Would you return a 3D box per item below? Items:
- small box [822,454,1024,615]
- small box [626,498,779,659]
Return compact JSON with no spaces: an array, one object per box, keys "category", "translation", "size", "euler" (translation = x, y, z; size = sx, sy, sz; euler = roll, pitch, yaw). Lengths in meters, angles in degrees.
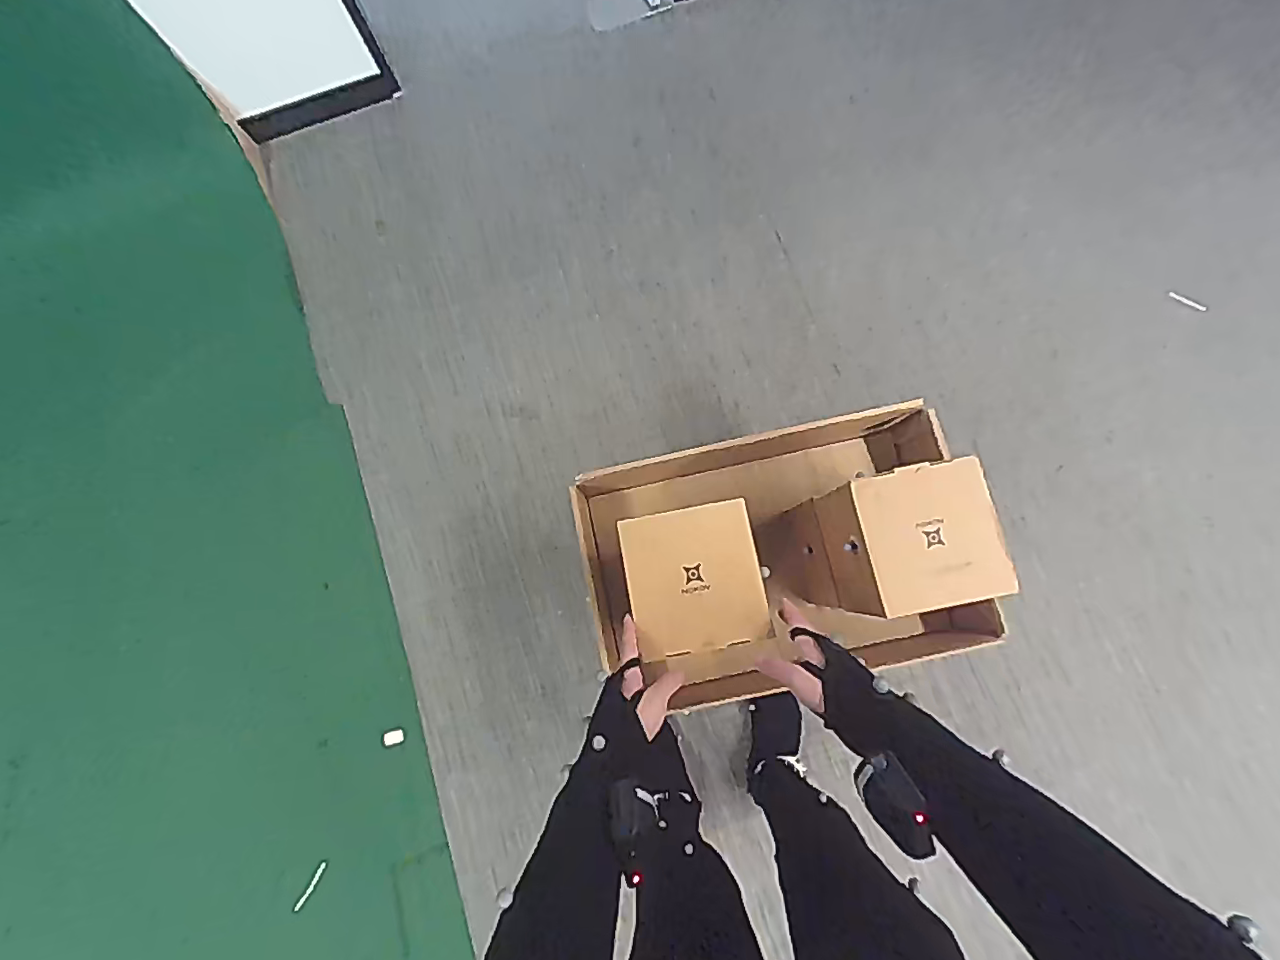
[{"category":"small box","translation":[0.365,0.080,0.737],"size":[0.168,0.176,0.179],"euler":[-12,79,1]},{"category":"small box","translation":[0.076,0.135,0.742],"size":[0.168,0.176,0.179],"euler":[-11,79,0]}]
